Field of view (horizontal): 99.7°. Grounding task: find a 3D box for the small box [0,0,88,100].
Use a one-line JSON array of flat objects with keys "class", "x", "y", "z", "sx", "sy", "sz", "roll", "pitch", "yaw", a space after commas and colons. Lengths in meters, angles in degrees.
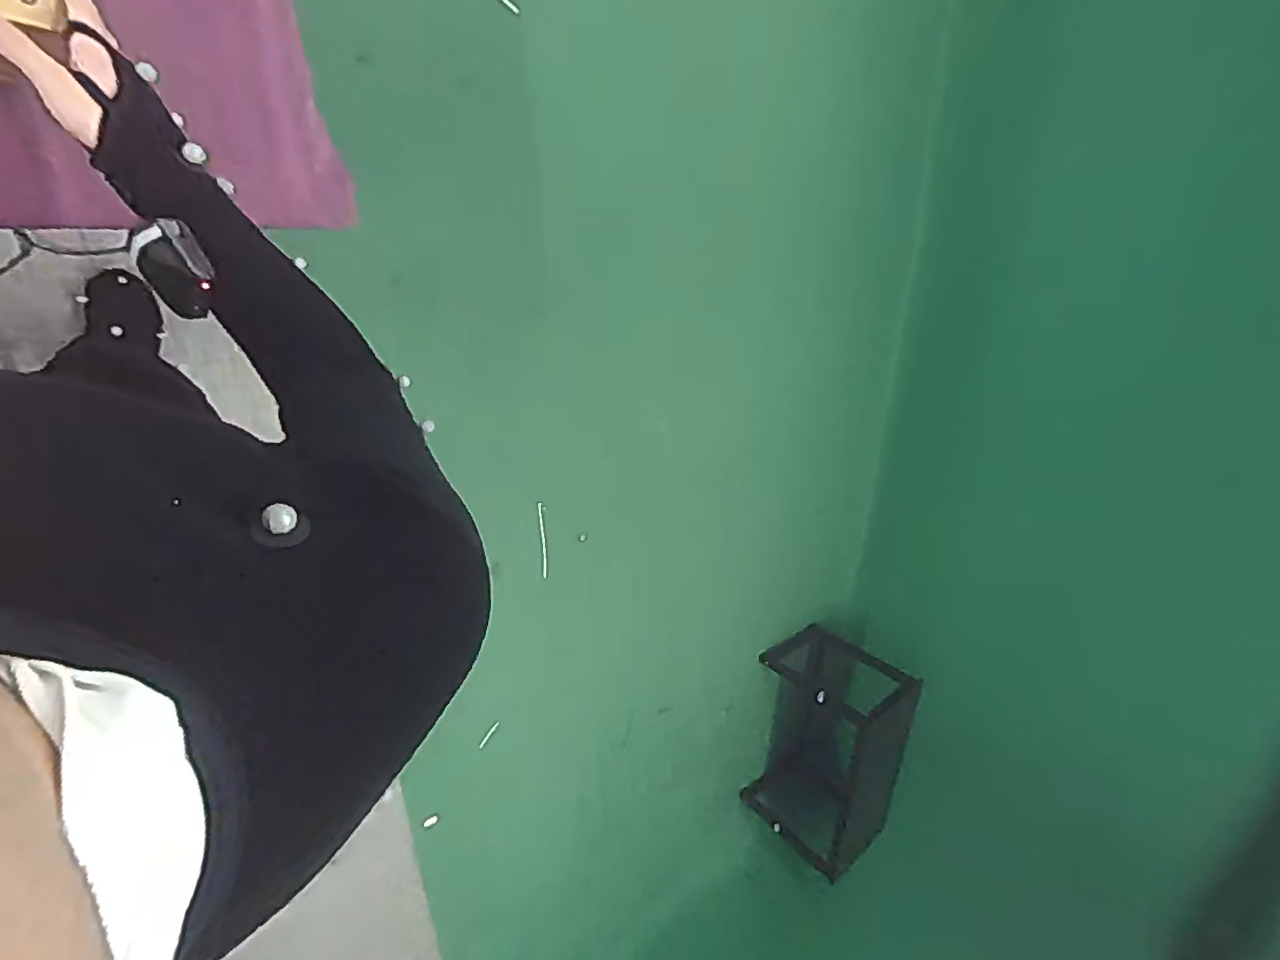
[{"class": "small box", "x": -0.580, "y": -0.448, "z": 0.430, "sx": 0.168, "sy": 0.176, "sz": 0.179, "roll": -10, "pitch": 108, "yaw": -37}]
